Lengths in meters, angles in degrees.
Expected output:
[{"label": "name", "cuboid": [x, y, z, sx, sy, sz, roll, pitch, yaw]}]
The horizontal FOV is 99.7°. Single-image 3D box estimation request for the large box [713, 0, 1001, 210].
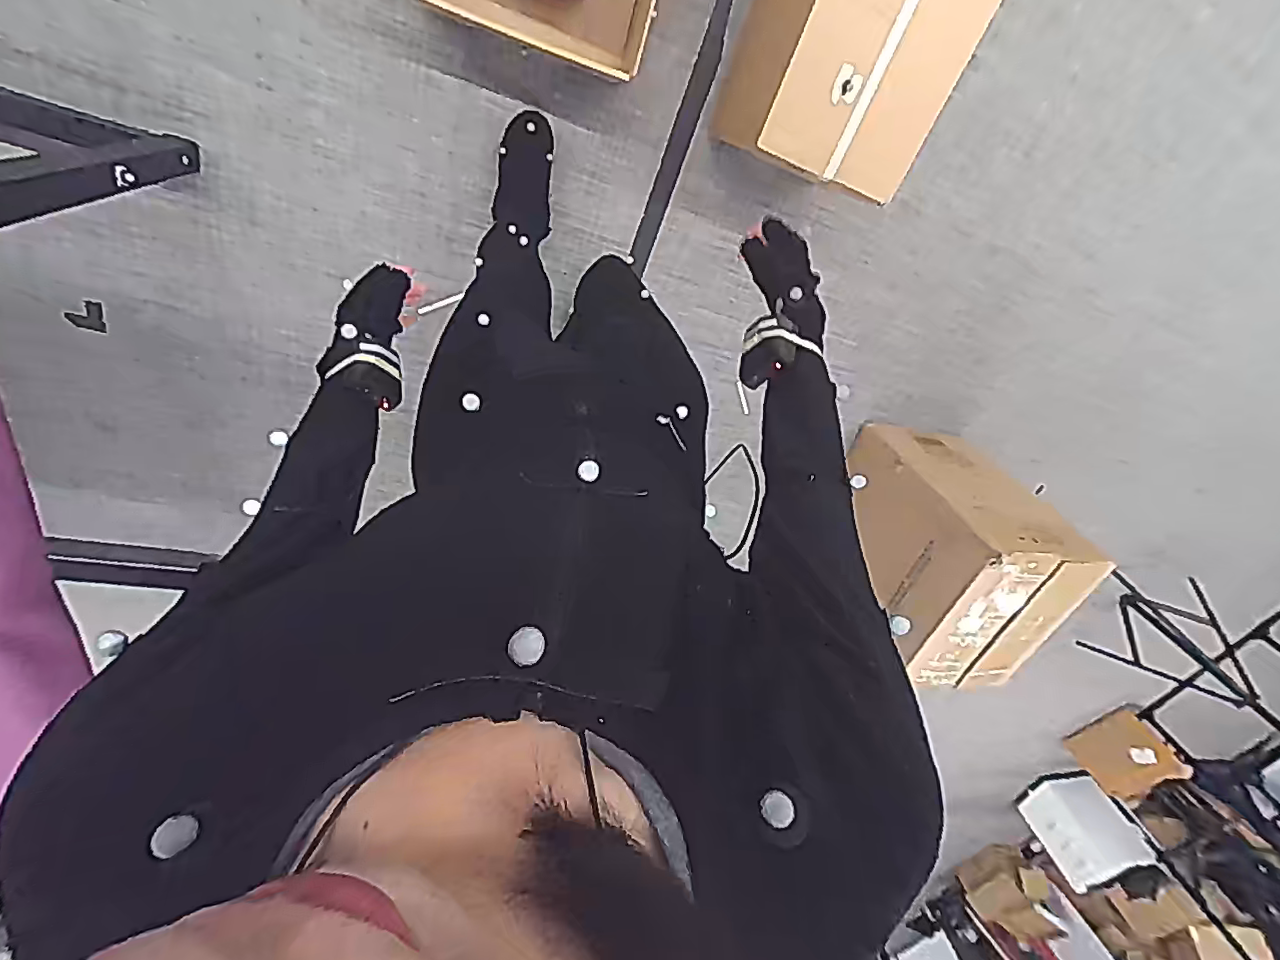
[{"label": "large box", "cuboid": [0.389, -0.807, 1.036, 0.320, 0.320, 0.408, 11, 123, -20]}]
